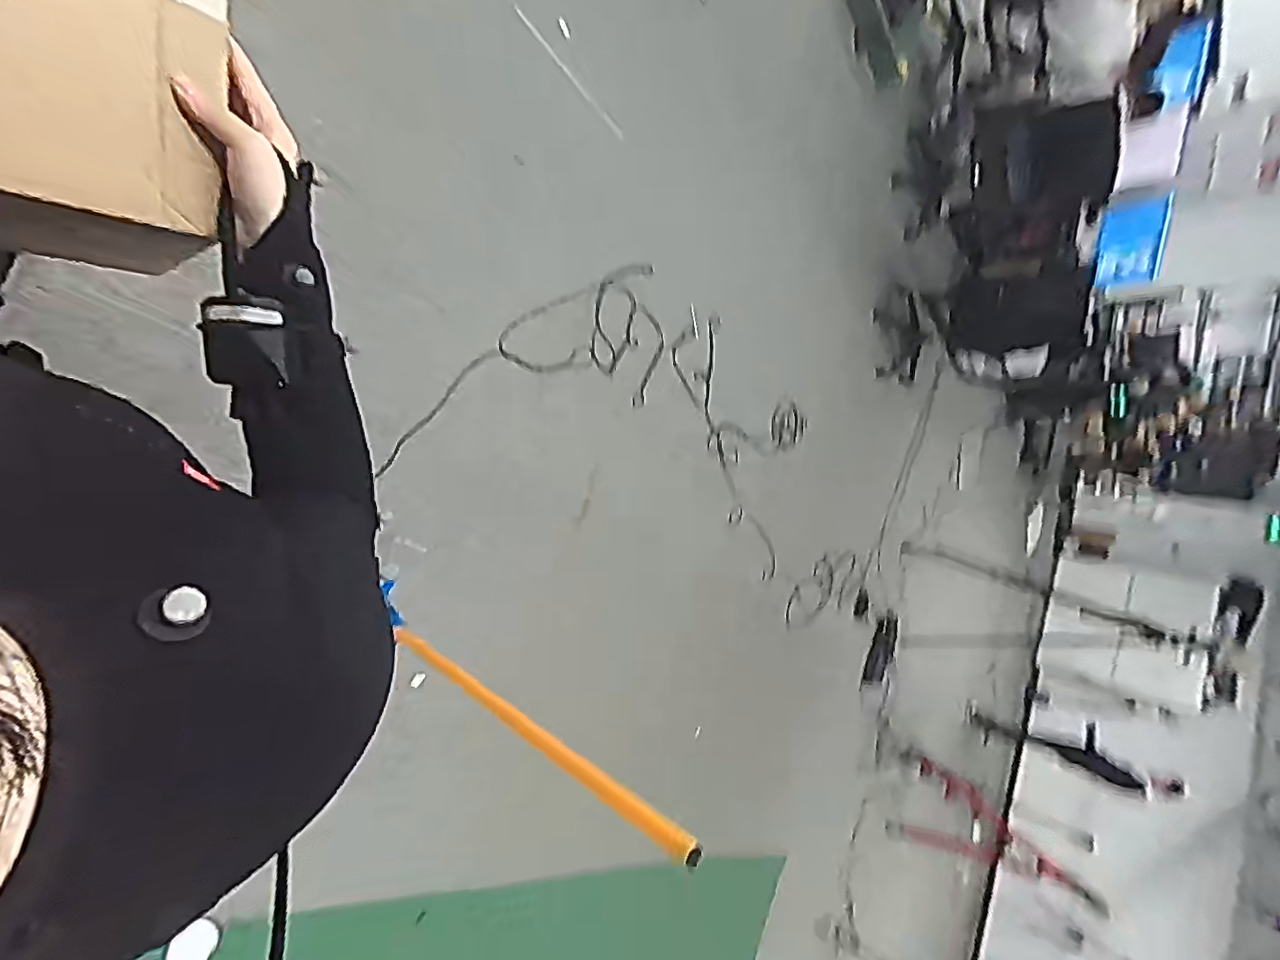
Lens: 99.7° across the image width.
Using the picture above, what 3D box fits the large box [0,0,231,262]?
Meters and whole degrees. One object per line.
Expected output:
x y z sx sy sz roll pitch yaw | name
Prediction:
-0.541 -0.357 0.336 0.408 0.320 0.320 -3 102 -49 | large box
